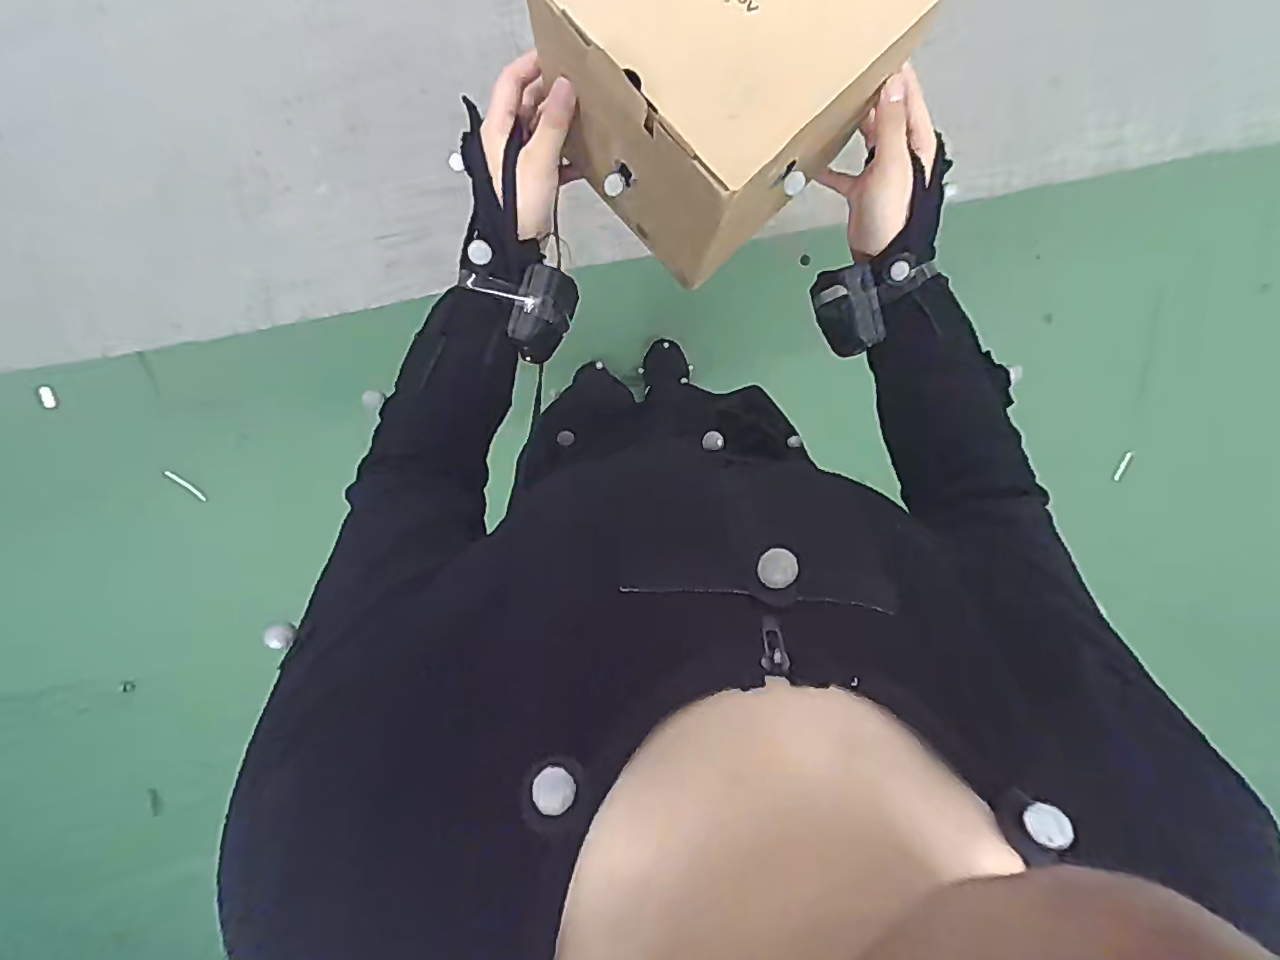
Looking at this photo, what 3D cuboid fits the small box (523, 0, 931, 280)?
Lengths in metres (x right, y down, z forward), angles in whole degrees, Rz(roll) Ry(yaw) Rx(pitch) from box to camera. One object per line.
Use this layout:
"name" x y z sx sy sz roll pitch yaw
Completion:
"small box" 0.050 -0.275 0.378 0.179 0.176 0.168 -44 92 0
